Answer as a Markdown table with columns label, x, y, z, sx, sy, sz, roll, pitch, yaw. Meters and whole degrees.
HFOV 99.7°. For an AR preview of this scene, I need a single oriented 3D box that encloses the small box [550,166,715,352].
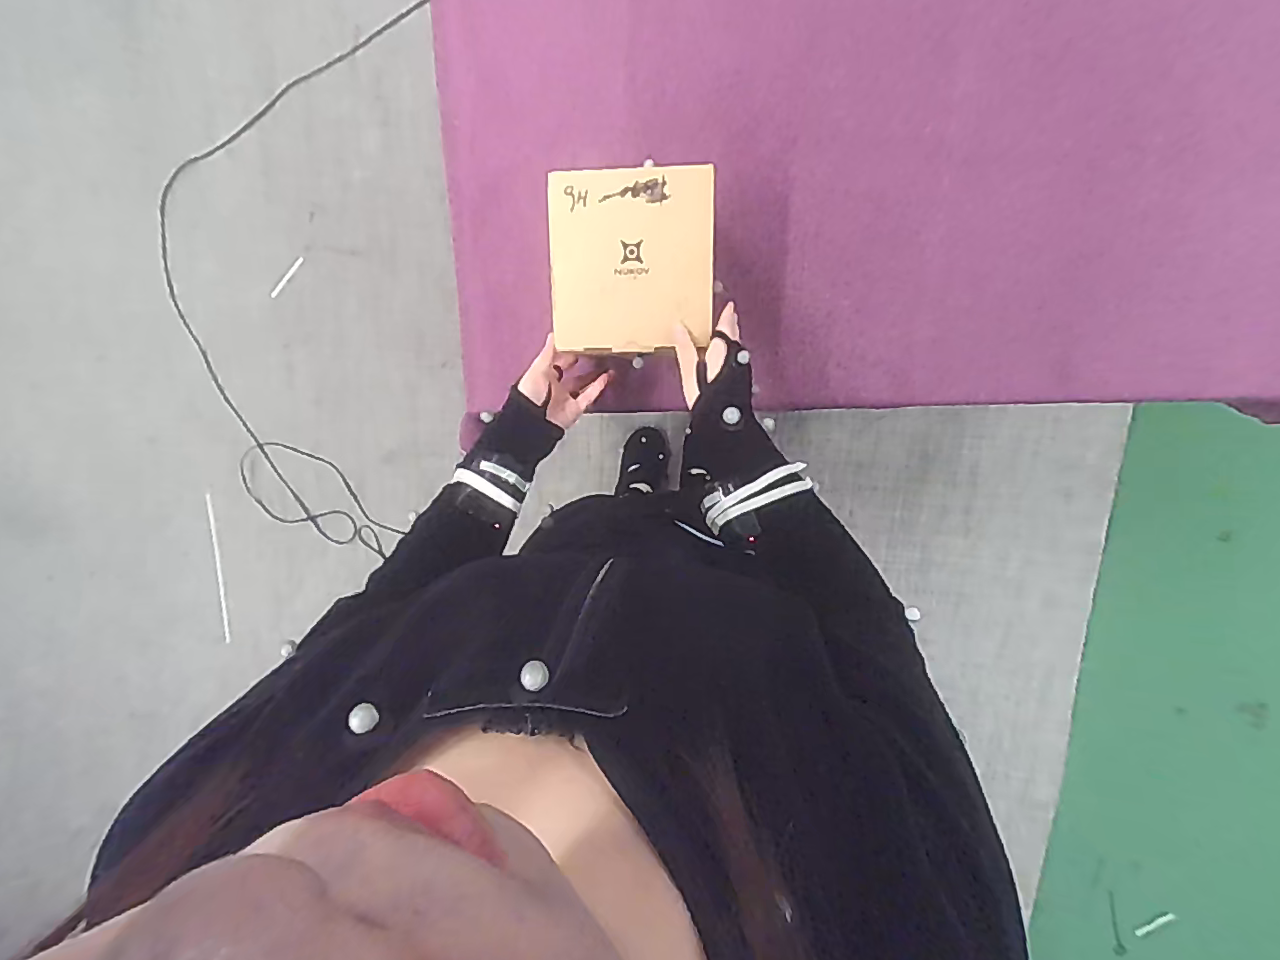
| label | x | y | z | sx | sy | sz | roll | pitch | yaw |
| --- | --- | --- | --- | --- | --- | --- | --- | --- | --- |
| small box | -0.003 | -0.238 | 0.621 | 0.168 | 0.176 | 0.179 | 2 | 102 | 4 |
